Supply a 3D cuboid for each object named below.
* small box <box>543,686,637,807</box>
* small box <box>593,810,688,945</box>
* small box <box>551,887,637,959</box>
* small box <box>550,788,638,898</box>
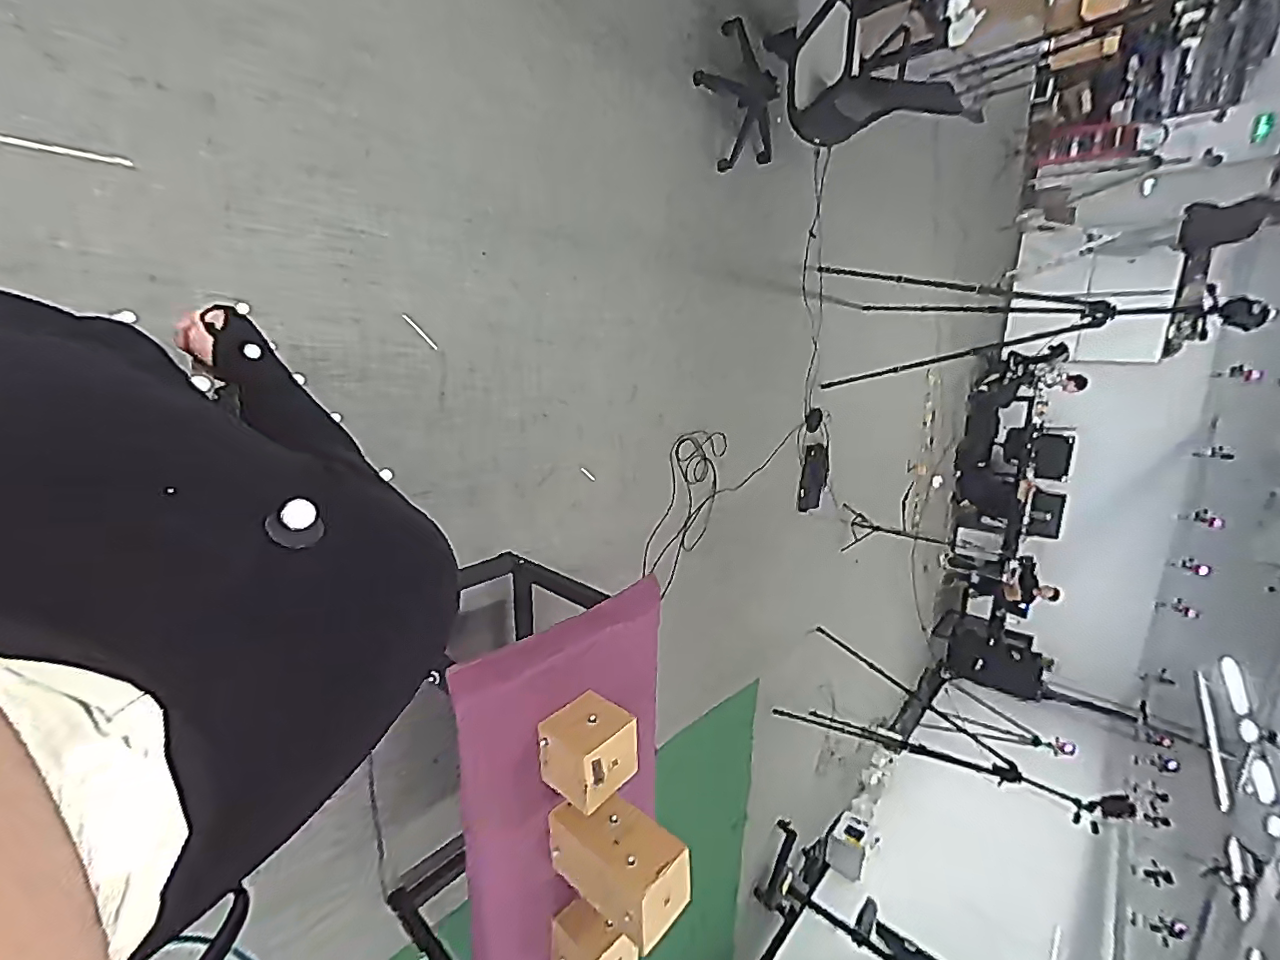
[{"bbox_3d":[-0.127,0.648,1.338,0.179,0.176,0.168,-18,113,-46],"label":"small box"},{"bbox_3d":[0.000,0.945,1.310,0.168,0.176,0.179,-18,112,-44],"label":"small box"},{"bbox_3d":[-0.125,1.256,1.499,0.179,0.176,0.168,-10,106,-47],"label":"small box"},{"bbox_3d":[-0.121,0.920,1.418,0.168,0.176,0.179,-18,113,-45],"label":"small box"}]
